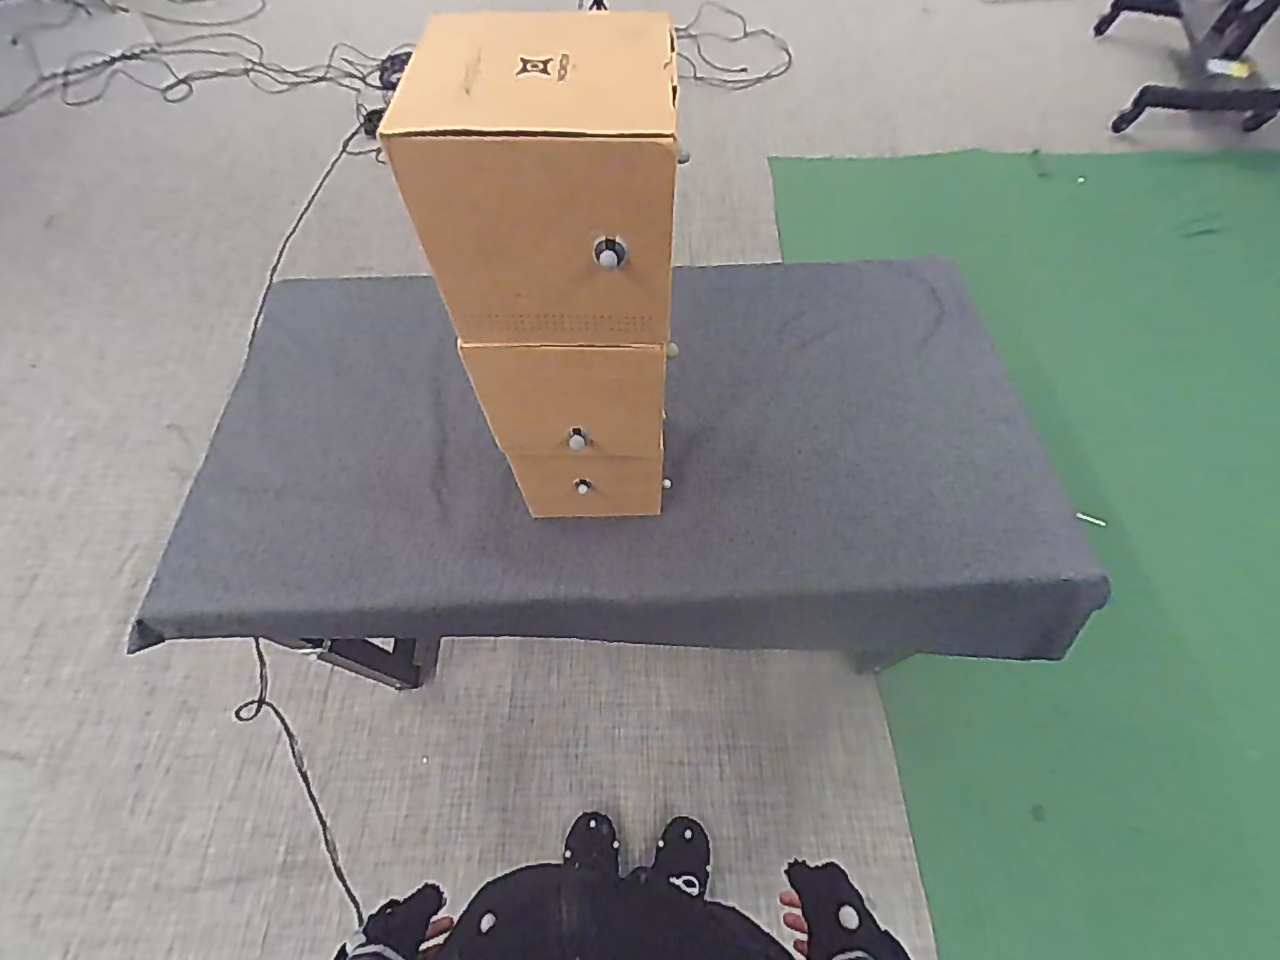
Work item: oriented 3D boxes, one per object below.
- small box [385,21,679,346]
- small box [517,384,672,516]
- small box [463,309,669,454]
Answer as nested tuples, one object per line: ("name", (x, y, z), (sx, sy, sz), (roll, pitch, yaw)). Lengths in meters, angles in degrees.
("small box", (-0.063, -0.222, 0.426), (0.179, 0.176, 0.168), (-1, 59, 1))
("small box", (-0.057, -0.063, 0.710), (0.179, 0.176, 0.168), (-4, 61, -2))
("small box", (-0.063, -0.139, 0.566), (0.179, 0.176, 0.168), (0, 60, 0))
